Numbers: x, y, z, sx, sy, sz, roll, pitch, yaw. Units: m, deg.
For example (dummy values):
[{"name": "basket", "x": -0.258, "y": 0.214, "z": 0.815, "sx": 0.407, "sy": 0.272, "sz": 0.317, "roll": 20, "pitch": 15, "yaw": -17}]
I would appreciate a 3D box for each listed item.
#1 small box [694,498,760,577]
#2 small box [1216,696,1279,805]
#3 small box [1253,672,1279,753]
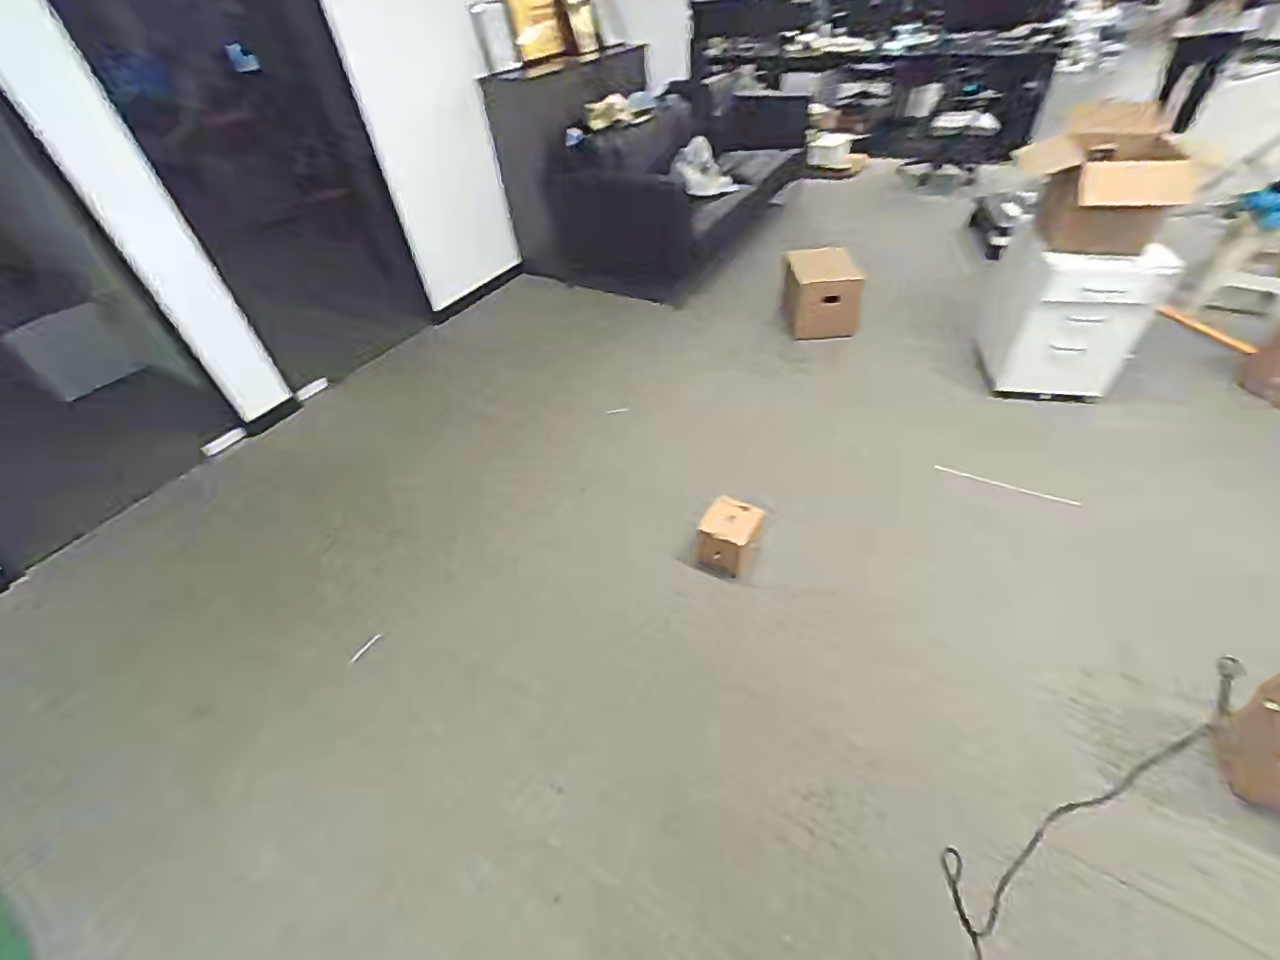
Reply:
[{"name": "small box", "x": 0.296, "y": 0.198, "z": 1.825, "sx": 0.168, "sy": 0.176, "sz": 0.179, "roll": 20, "pitch": 49, "yaw": 26}, {"name": "small box", "x": 1.460, "y": 0.623, "z": 1.213, "sx": 0.179, "sy": 0.176, "sz": 0.168, "roll": 13, "pitch": 47, "yaw": 20}, {"name": "small box", "x": 1.451, "y": 0.491, "z": 1.116, "sx": 0.179, "sy": 0.176, "sz": 0.168, "roll": 15, "pitch": 46, "yaw": 23}]
